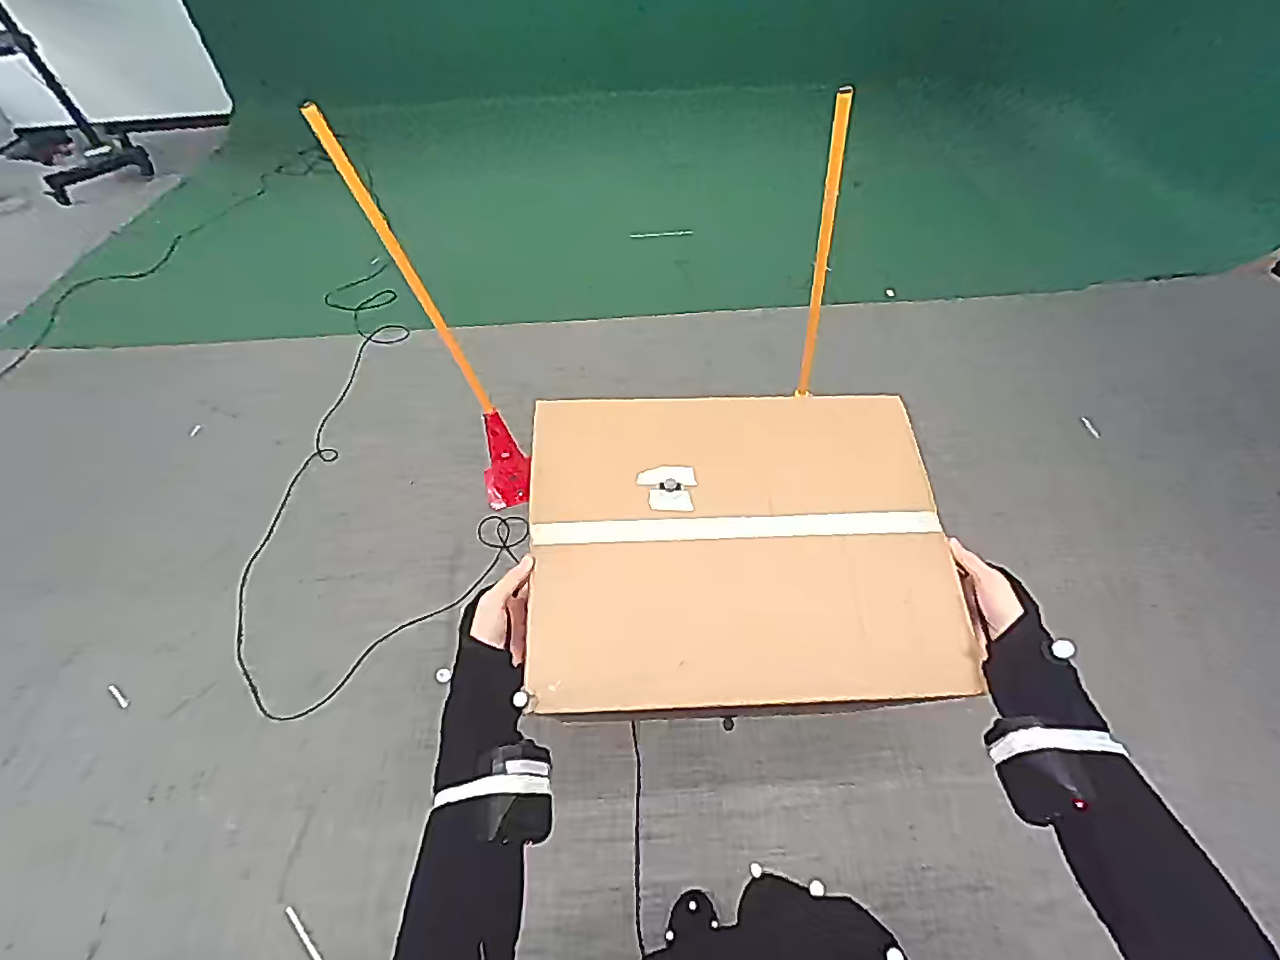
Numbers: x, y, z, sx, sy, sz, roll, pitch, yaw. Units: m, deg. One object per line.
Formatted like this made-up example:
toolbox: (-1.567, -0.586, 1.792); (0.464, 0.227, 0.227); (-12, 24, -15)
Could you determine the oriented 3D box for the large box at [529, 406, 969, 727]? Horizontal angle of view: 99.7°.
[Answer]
large box: (0.092, 0.127, 0.675); (0.408, 0.320, 0.320); (-2, 63, -2)
